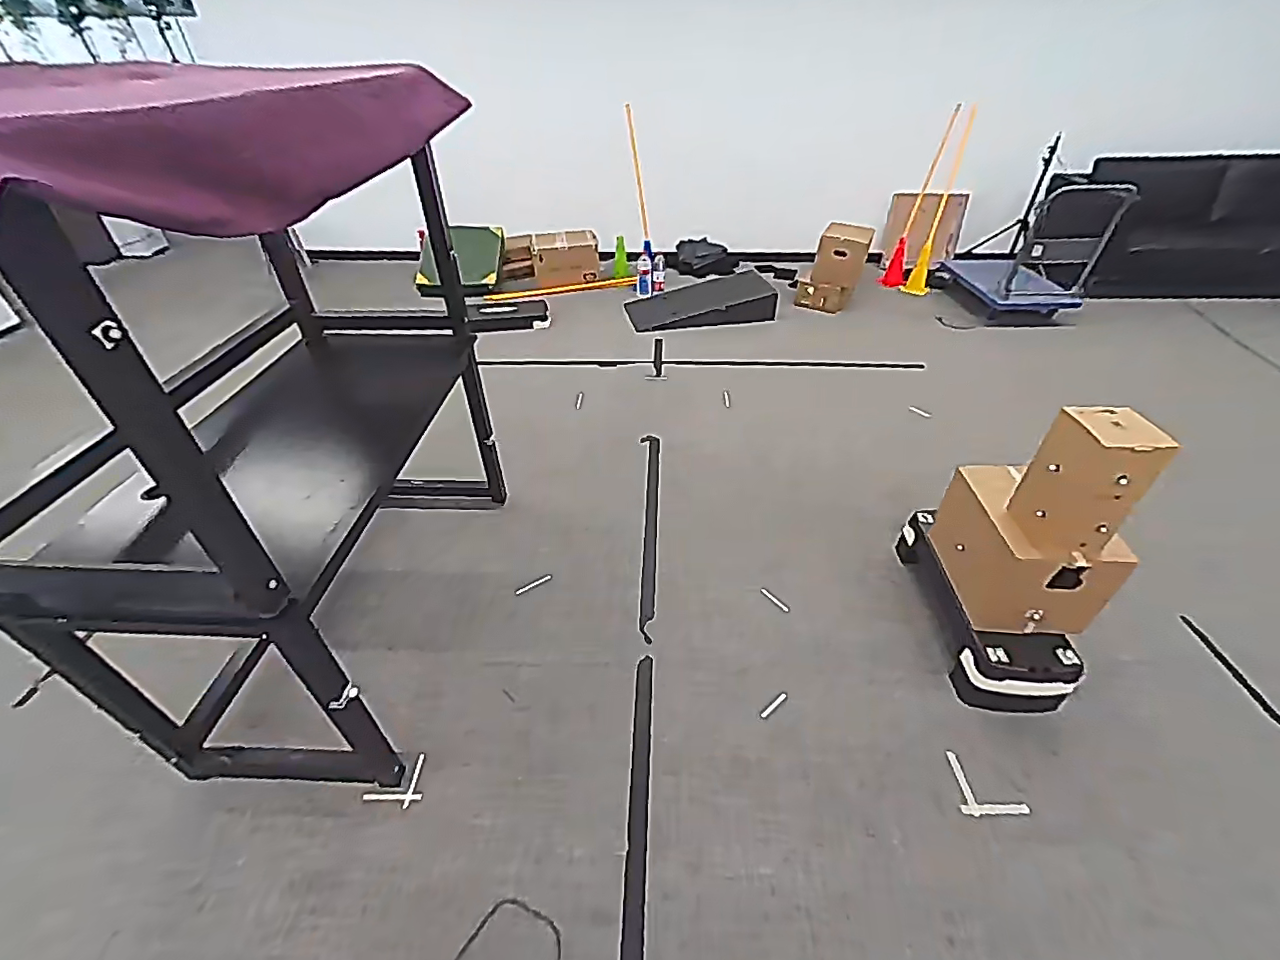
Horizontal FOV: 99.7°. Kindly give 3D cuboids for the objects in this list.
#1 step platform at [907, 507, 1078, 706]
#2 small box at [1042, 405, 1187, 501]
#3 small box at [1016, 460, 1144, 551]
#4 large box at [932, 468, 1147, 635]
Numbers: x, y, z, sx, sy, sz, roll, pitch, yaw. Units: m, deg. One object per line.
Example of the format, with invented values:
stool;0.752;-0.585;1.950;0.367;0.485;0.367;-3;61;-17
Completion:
step platform;1.122;0.375;1.787;0.286;0.204;0.684;5;38;7
small box;1.126;-0.063;1.301;0.168;0.176;0.179;1;39;2
small box;1.126;0.067;1.401;0.168;0.176;0.179;2;38;3
large box;1.144;0.208;1.615;0.320;0.320;0.408;2;38;2
